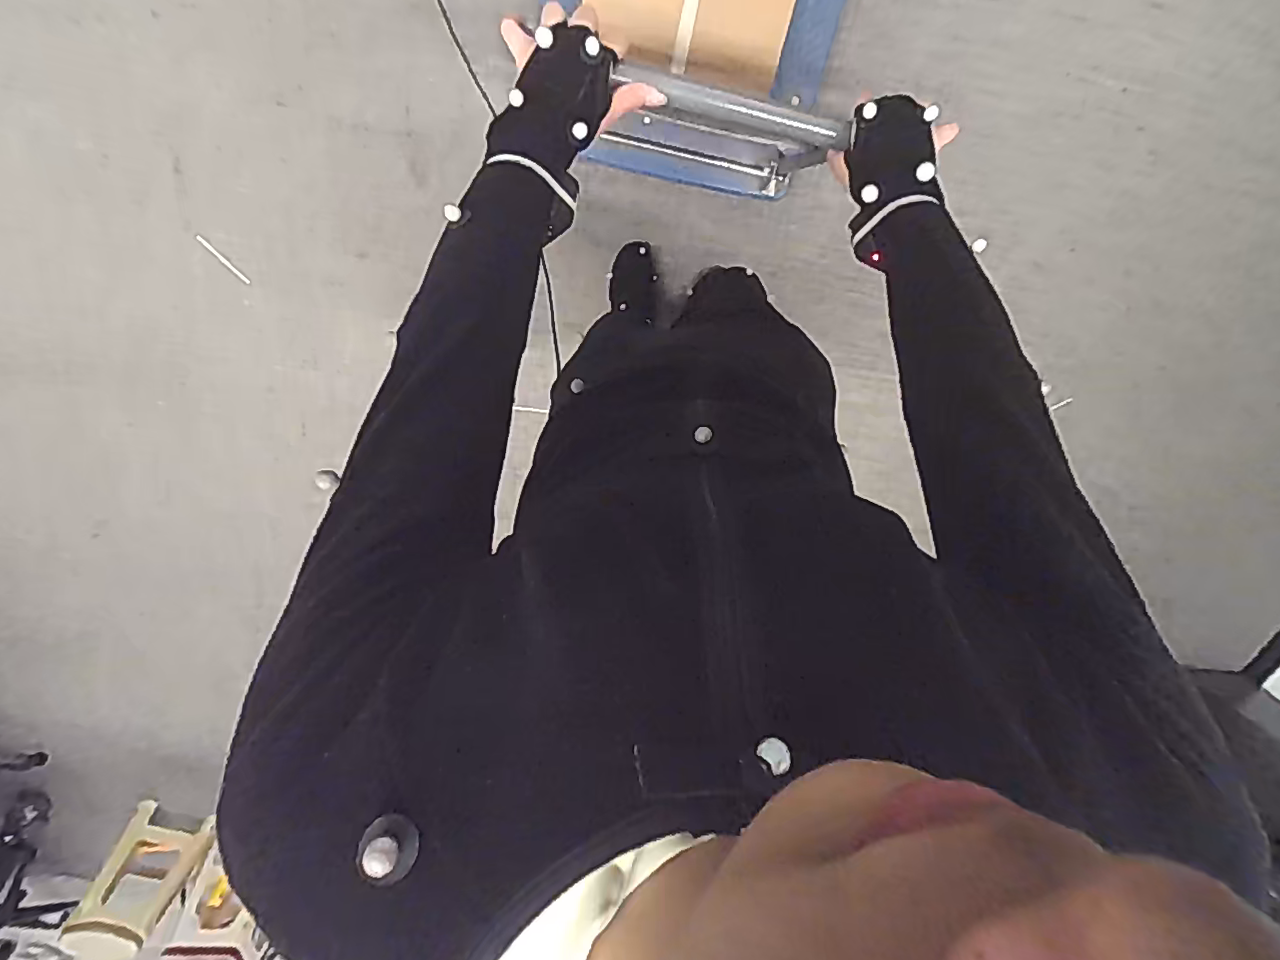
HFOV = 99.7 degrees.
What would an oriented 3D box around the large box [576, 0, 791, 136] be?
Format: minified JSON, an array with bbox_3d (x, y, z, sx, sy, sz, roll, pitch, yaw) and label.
[{"bbox_3d":[0.080,-0.855,0.909,0.320,0.320,0.408,9,116,-9],"label":"large box"}]
